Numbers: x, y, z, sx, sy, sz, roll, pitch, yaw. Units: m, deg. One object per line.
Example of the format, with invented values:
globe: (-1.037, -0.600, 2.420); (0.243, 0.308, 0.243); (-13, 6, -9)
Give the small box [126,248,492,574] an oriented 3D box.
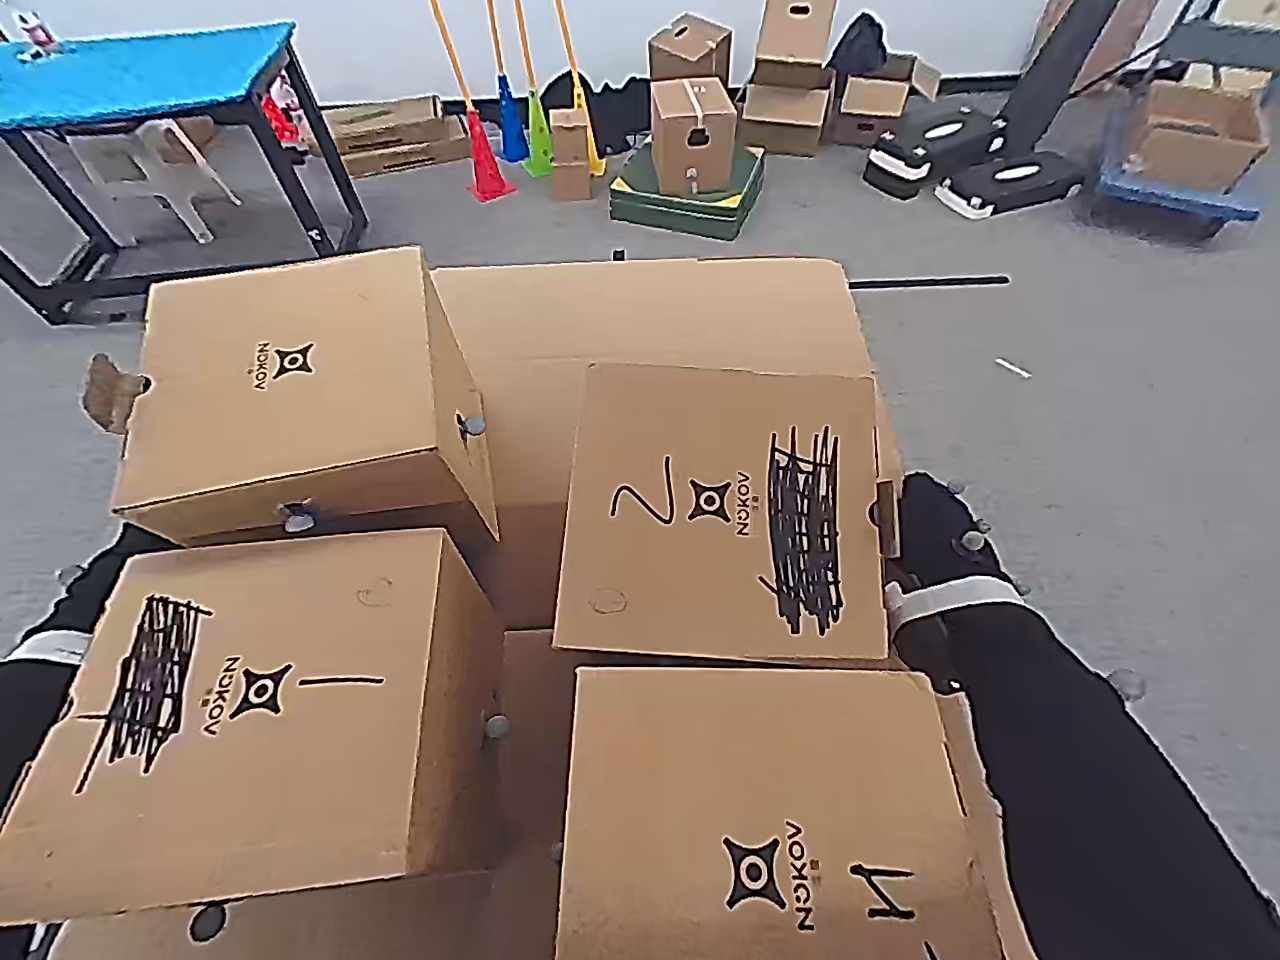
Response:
small box: (-0.220, -0.042, 0.414); (0.179, 0.176, 0.168); (-12, 65, -6)
